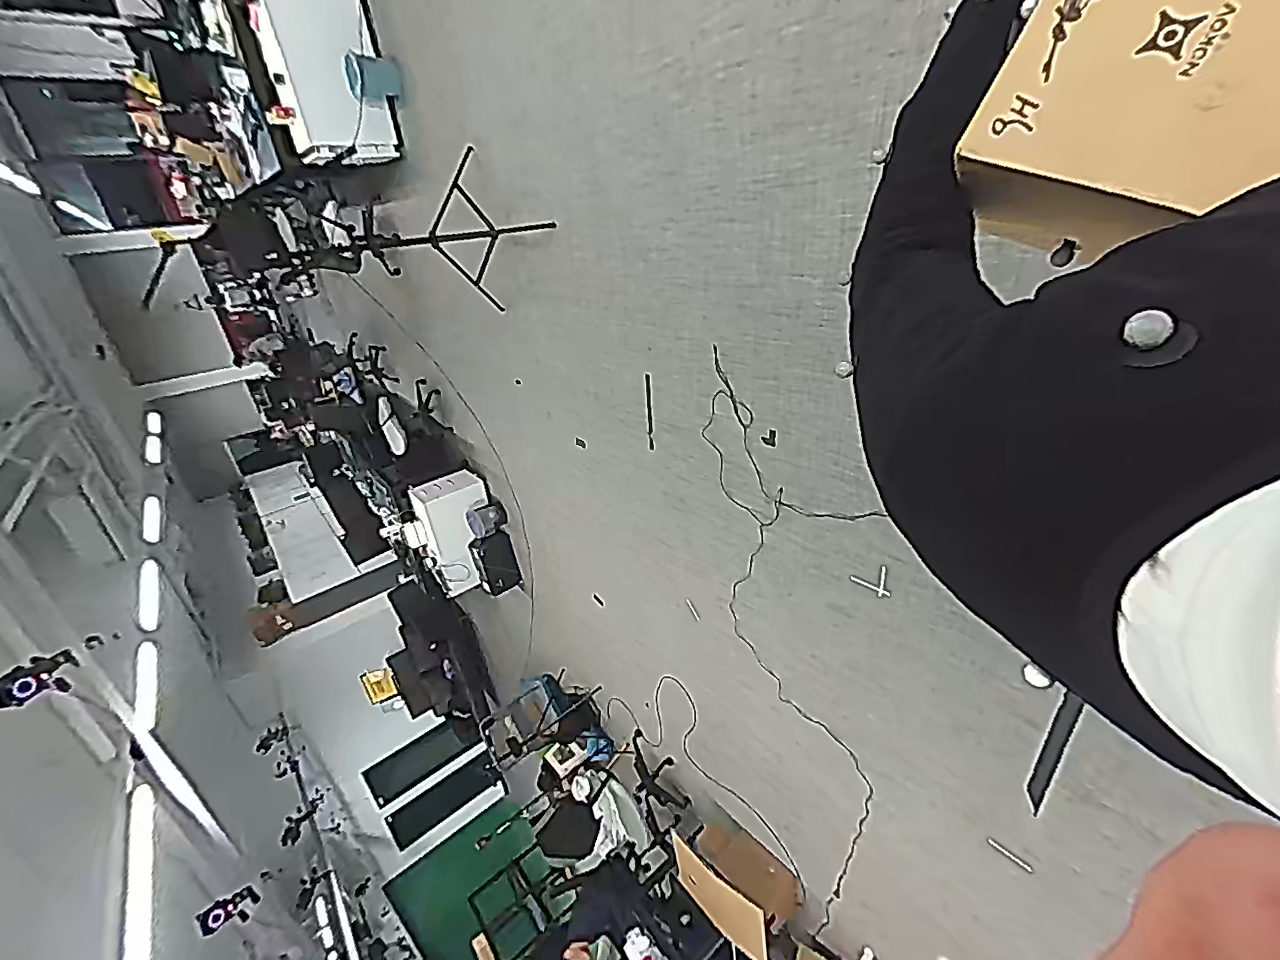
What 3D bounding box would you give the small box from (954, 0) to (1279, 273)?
[{"bbox_3d":[0.361,-0.264,0.383,0.179,0.176,0.168,35,113,26],"label":"small box"}]
